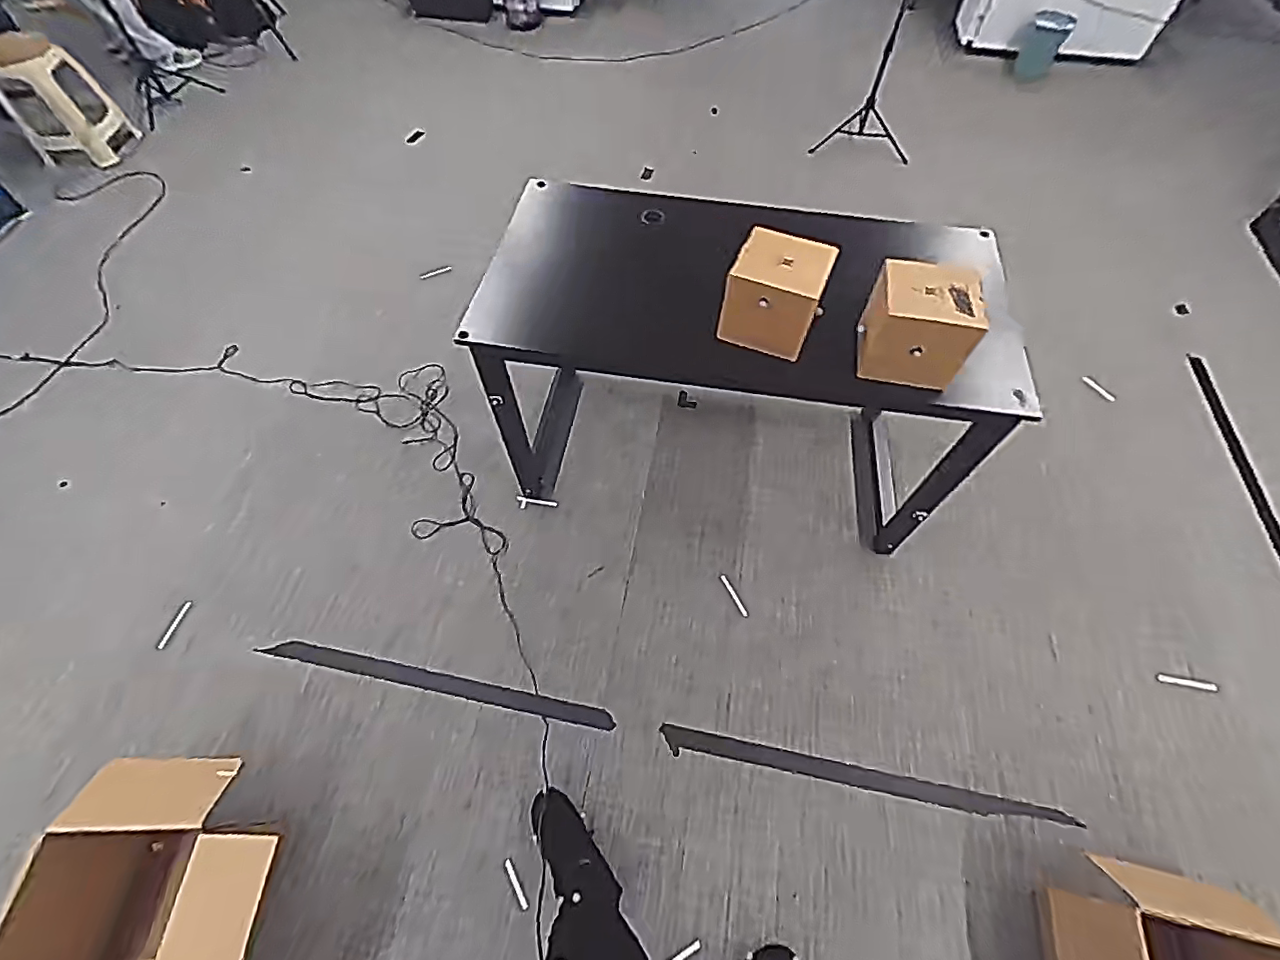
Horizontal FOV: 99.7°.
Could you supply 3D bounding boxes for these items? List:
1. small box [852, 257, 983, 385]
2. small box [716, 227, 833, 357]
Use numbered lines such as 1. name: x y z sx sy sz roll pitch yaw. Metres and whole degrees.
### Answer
1. small box: 0.537 -0.308 1.068 0.179 0.176 0.168 10 59 7
2. small box: 0.270 -0.381 1.114 0.179 0.176 0.168 20 60 12
